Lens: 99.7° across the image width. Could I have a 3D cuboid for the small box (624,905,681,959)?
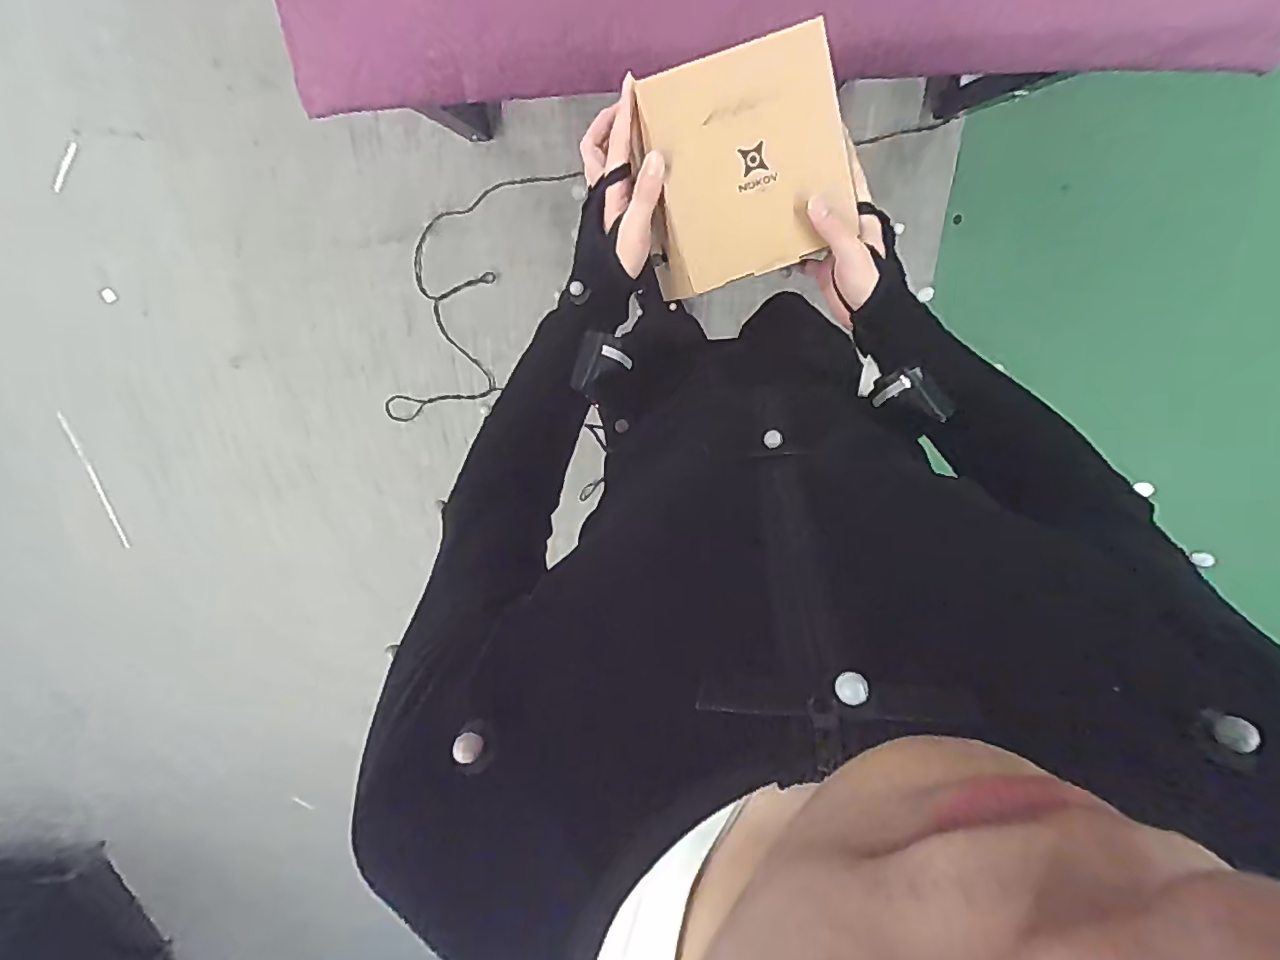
[{"bbox_3d":[0.039,1.428,1.641,0.168,0.176,0.179,-4,114,2],"label":"small box"}]
